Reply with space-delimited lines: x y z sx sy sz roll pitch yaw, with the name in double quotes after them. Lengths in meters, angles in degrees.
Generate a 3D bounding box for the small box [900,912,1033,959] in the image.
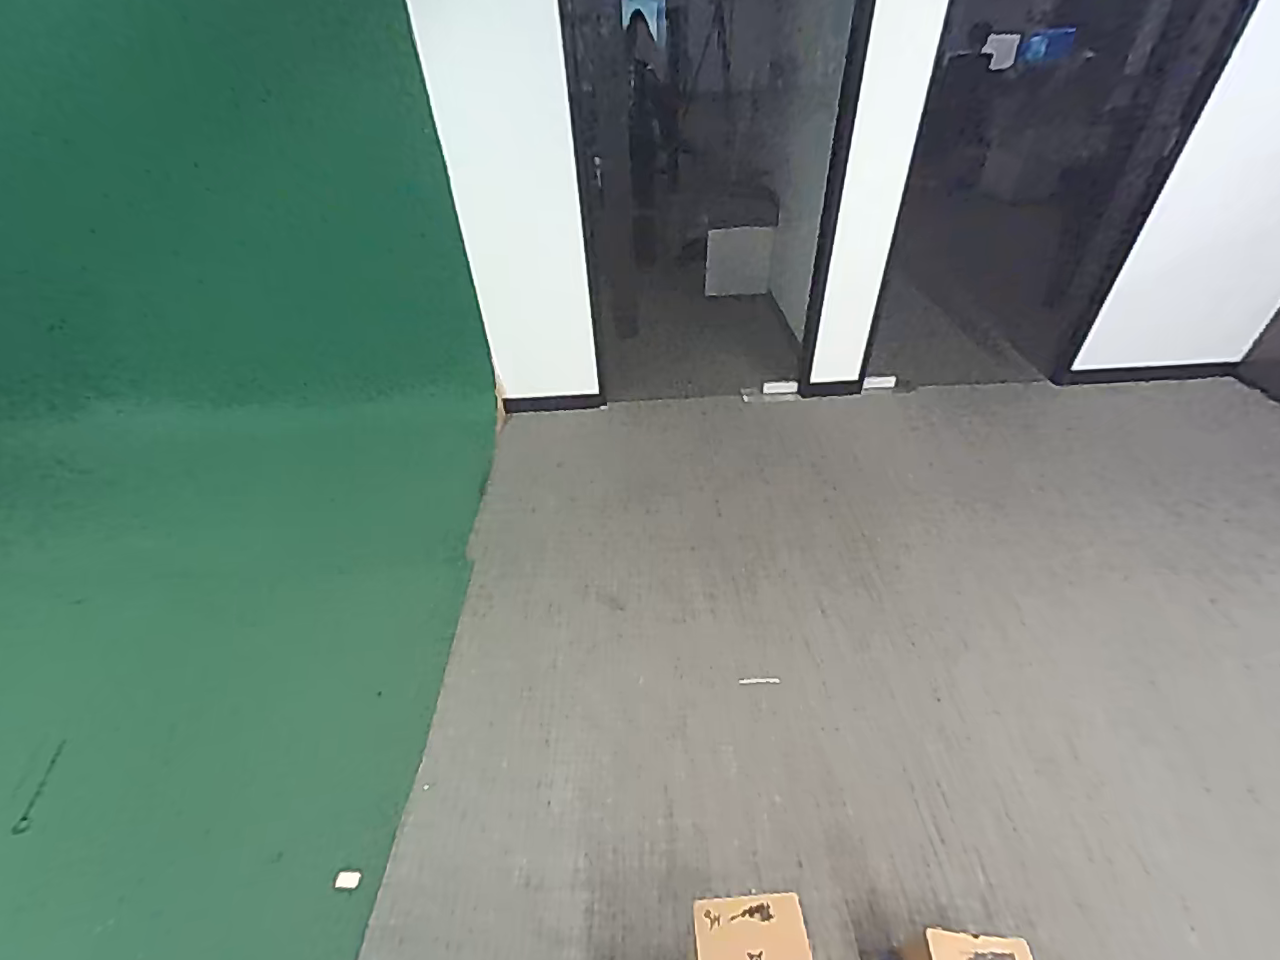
0.565 0.872 0.921 0.168 0.176 0.179 1 42 6 "small box"

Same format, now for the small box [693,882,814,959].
0.174 0.751 0.834 0.168 0.176 0.179 -4 41 -1 "small box"
